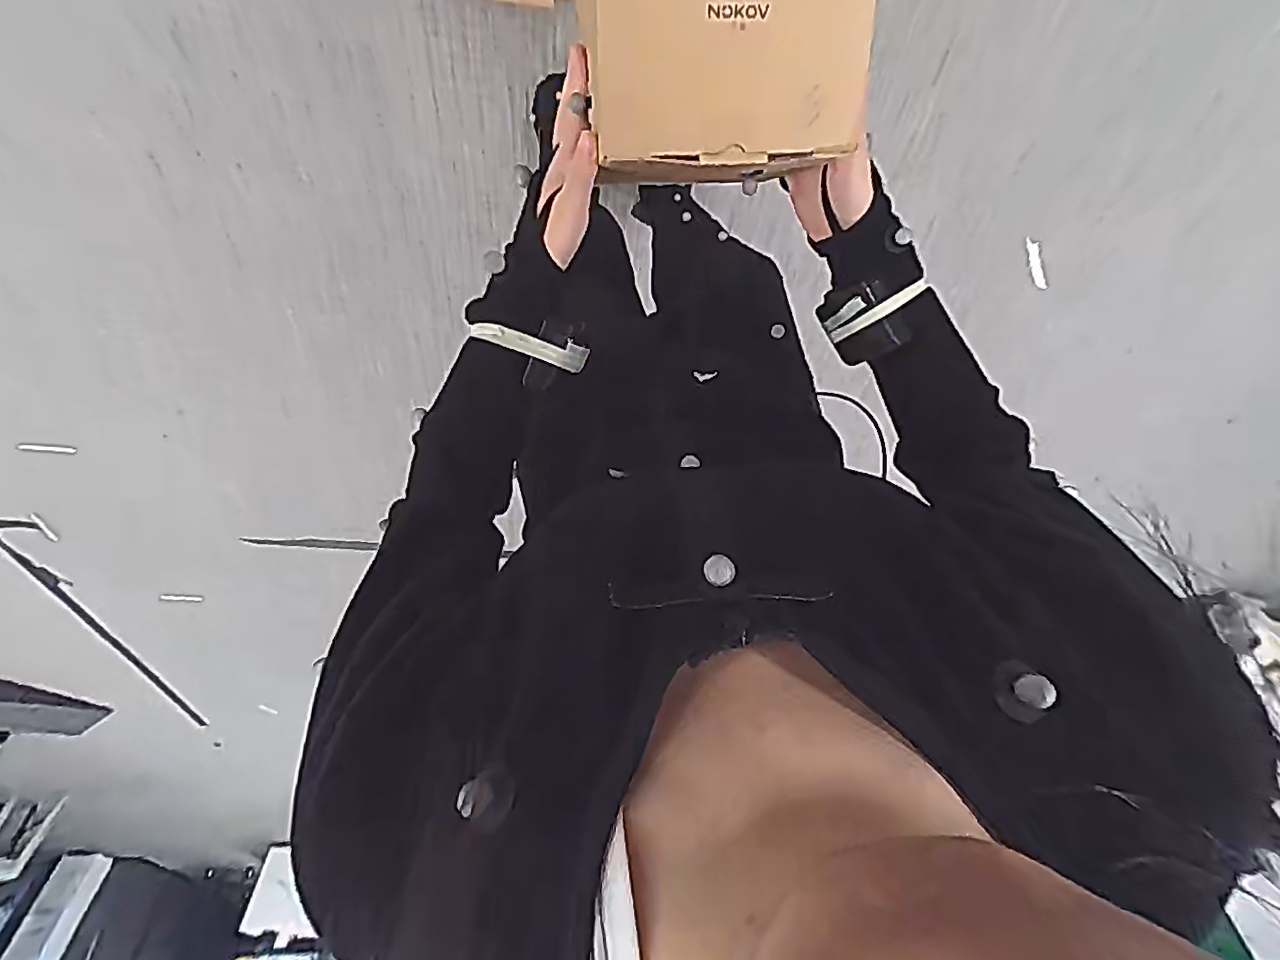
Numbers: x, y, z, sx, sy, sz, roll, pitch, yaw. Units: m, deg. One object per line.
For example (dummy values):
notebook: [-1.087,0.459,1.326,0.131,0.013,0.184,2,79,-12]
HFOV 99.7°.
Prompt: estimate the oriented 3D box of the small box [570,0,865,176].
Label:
small box: [0.039,-0.316,0.374,0.168,0.176,0.179,-6,113,-7]
